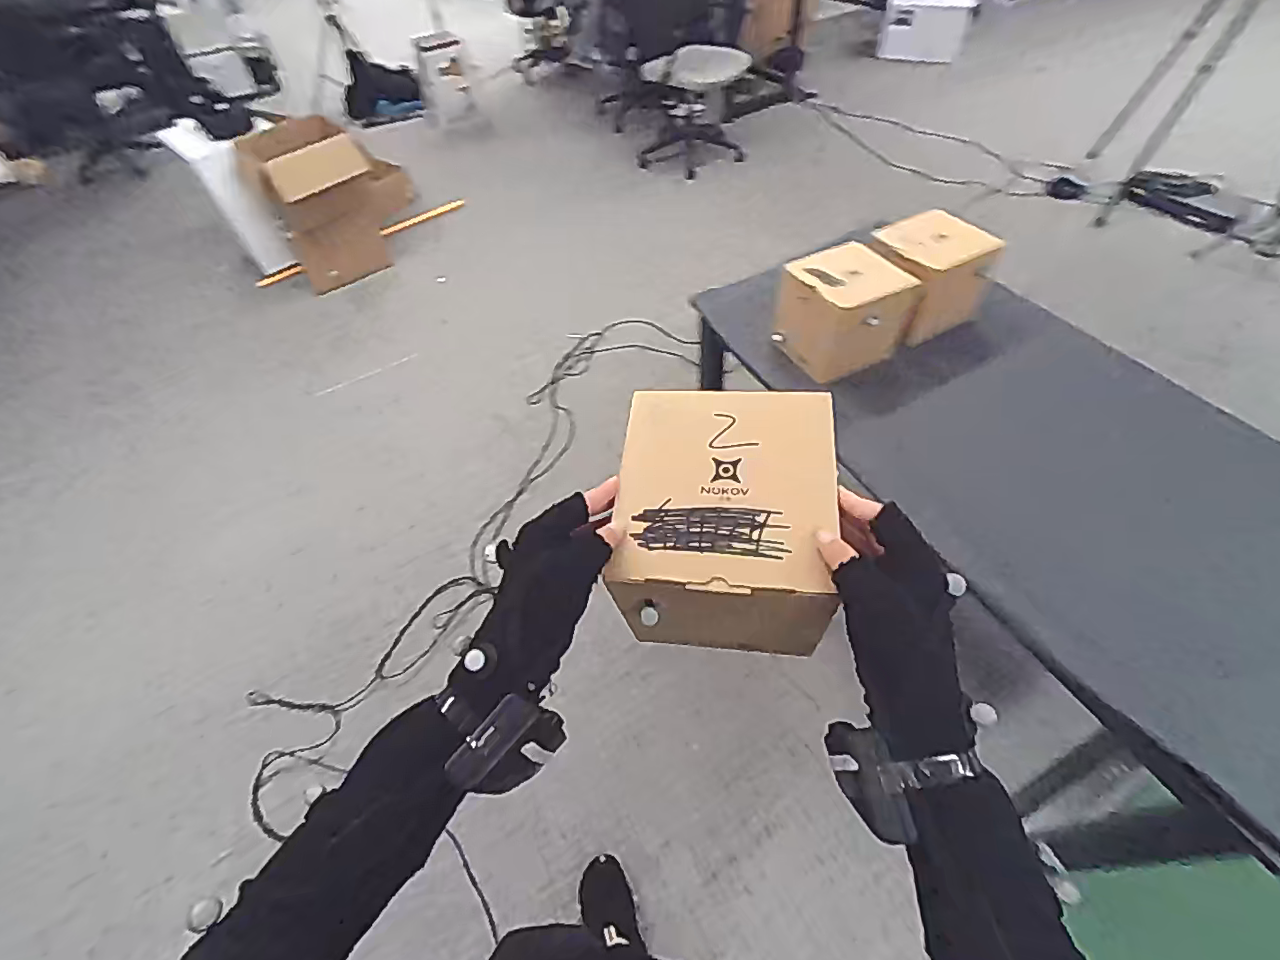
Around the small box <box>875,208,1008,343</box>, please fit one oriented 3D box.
[{"bbox_3d":[0.573,-0.408,1.085,0.179,0.176,0.168,-25,54,-14],"label":"small box"}]

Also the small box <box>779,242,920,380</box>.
[{"bbox_3d":[0.383,-0.318,1.030,0.179,0.176,0.168,-23,54,-15],"label":"small box"}]
